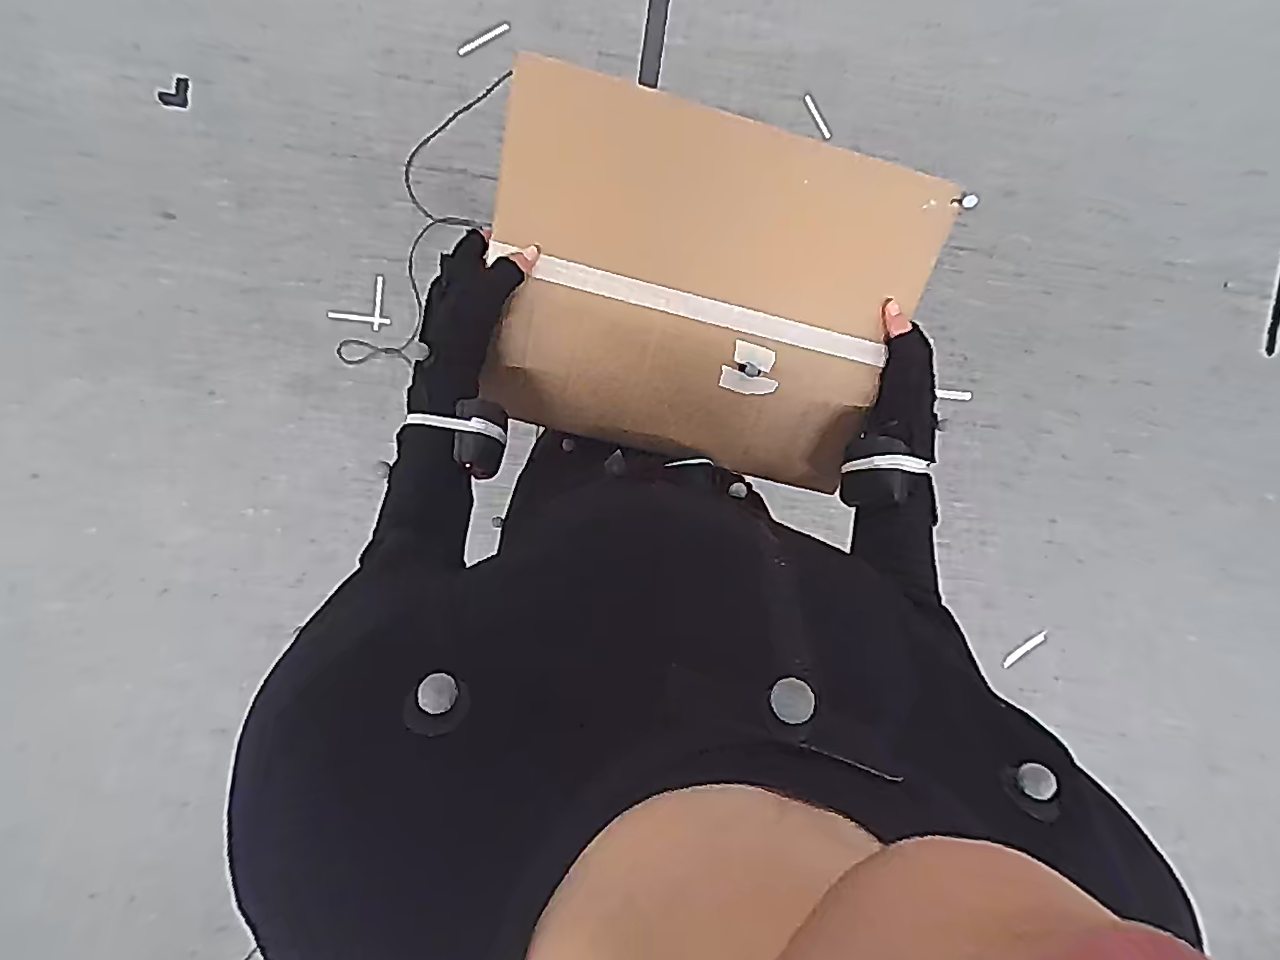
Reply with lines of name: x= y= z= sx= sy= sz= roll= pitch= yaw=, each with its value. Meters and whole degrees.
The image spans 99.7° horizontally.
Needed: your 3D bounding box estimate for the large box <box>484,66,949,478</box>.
large box: x=0.056 y=-0.237 z=0.672 sx=0.408 sy=0.320 sz=0.320 roll=13 pitch=114 yaw=-6
